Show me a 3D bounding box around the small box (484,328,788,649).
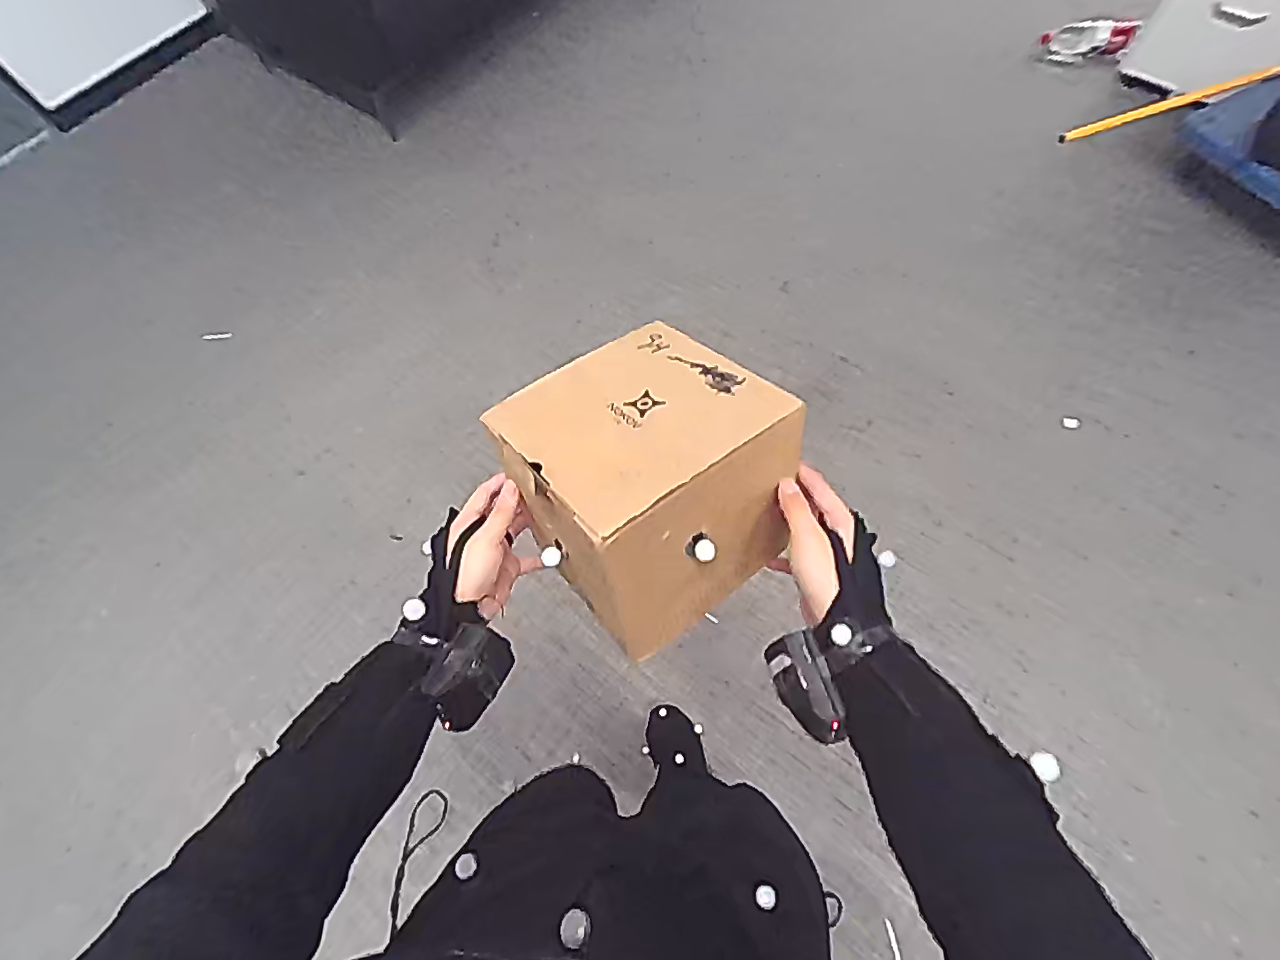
[{"bbox_3d":[0.005,0.007,0.456,0.179,0.176,0.168,-34,50,-20],"label":"small box"}]
